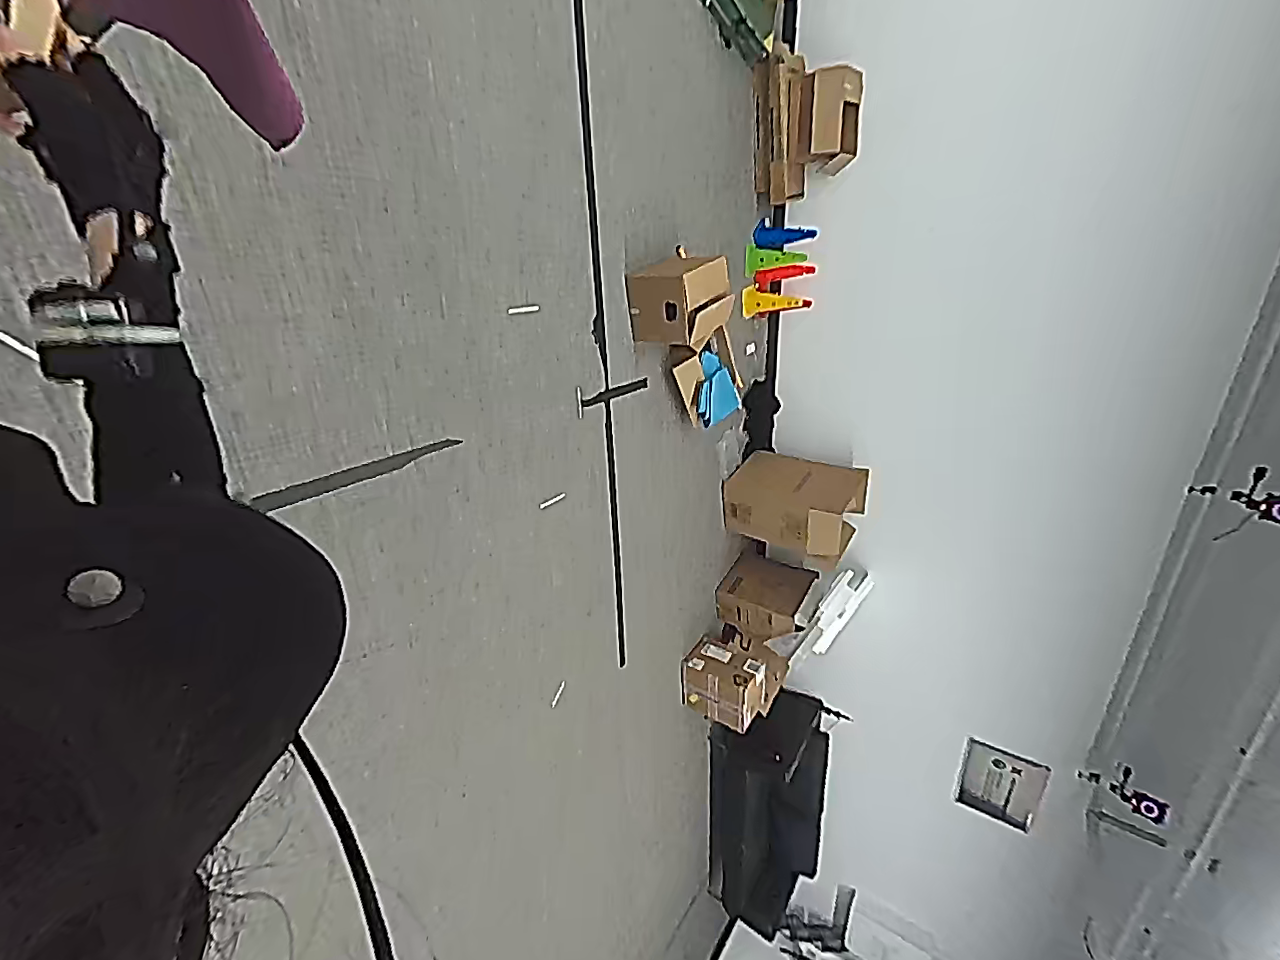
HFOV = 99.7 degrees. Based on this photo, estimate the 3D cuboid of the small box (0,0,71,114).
[{"bbox_3d":[-0.509,-0.359,0.334,0.179,0.176,0.168,22,76,-67],"label":"small box"}]
